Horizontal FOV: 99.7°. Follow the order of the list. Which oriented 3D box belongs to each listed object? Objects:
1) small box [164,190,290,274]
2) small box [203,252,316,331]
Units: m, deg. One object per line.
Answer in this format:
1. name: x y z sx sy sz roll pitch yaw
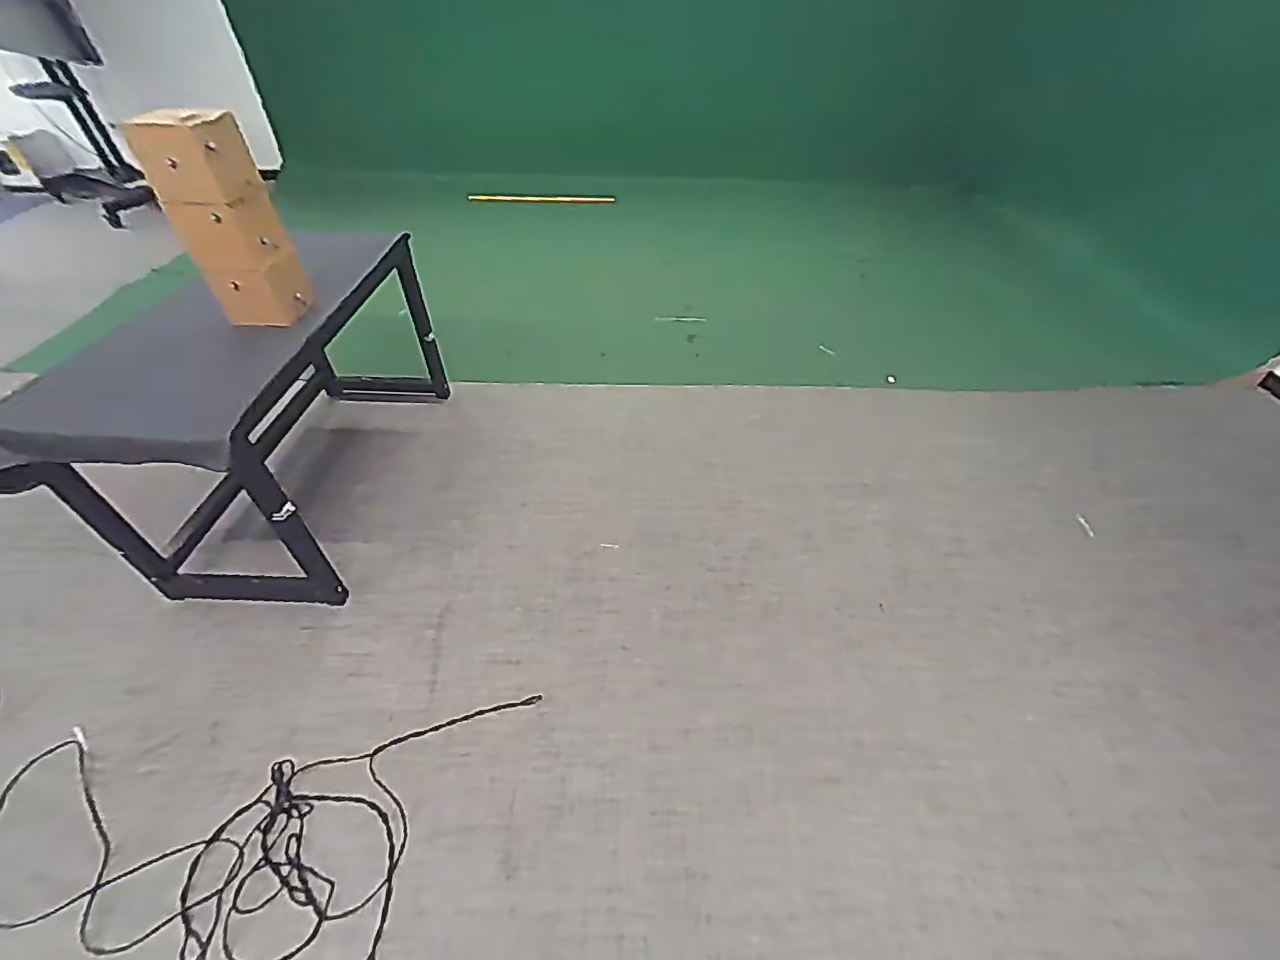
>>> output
1. small box: -1.099 -0.665 1.455 0.179 0.176 0.168 2 43 2
2. small box: -1.090 -0.546 1.565 0.179 0.176 0.168 2 45 2
